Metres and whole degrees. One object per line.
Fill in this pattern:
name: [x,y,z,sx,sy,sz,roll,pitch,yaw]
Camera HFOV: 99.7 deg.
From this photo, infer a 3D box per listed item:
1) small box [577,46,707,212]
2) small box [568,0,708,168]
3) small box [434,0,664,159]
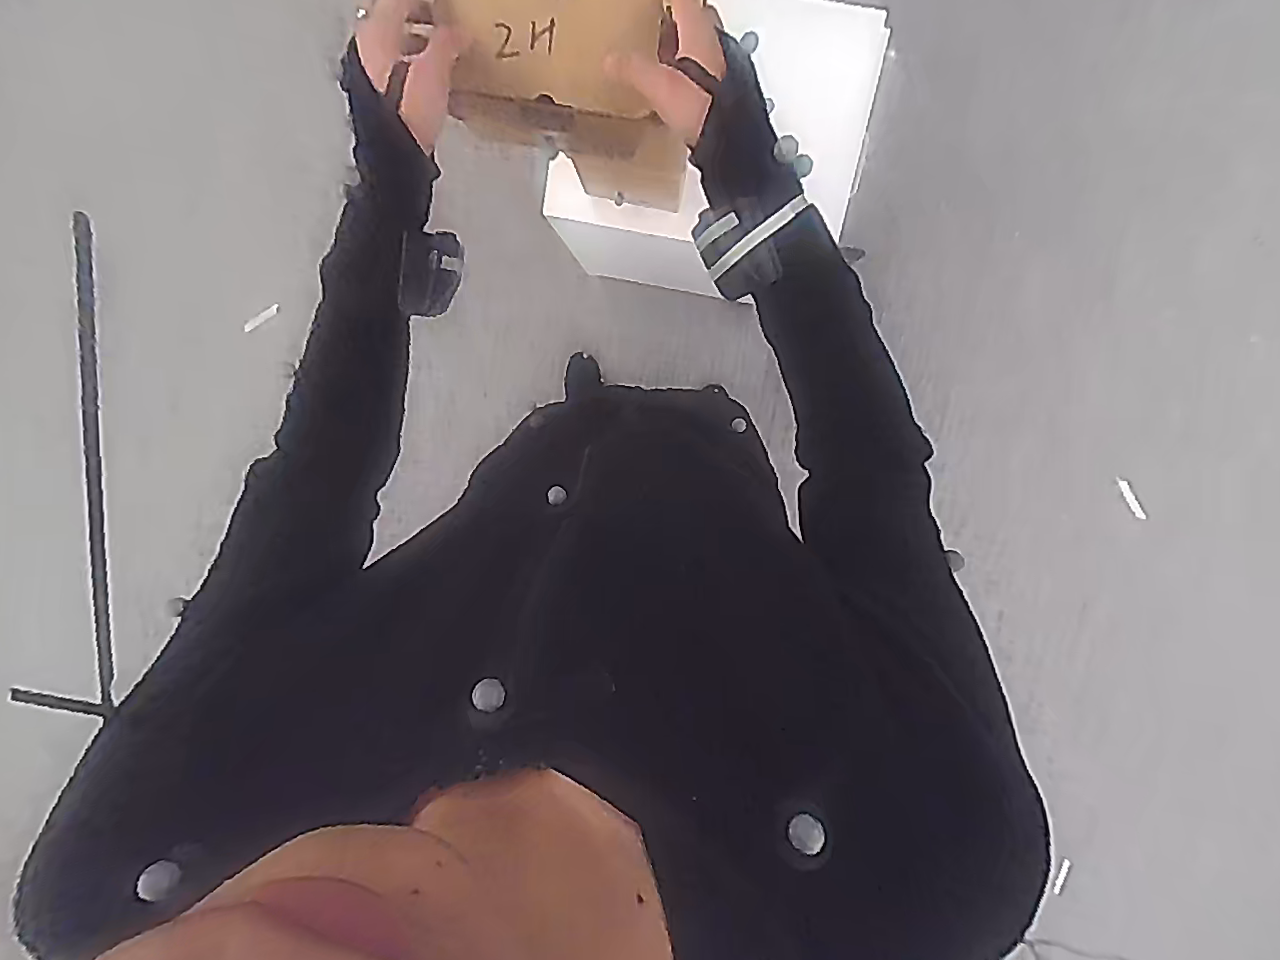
small box: [-0.001,-0.543,0.835,0.168,0.176,0.179,12,101,0]
small box: [-0.014,-0.513,0.674,0.179,0.176,0.168,8,100,2]
small box: [-0.070,-0.398,0.460,0.168,0.176,0.179,5,111,-8]
